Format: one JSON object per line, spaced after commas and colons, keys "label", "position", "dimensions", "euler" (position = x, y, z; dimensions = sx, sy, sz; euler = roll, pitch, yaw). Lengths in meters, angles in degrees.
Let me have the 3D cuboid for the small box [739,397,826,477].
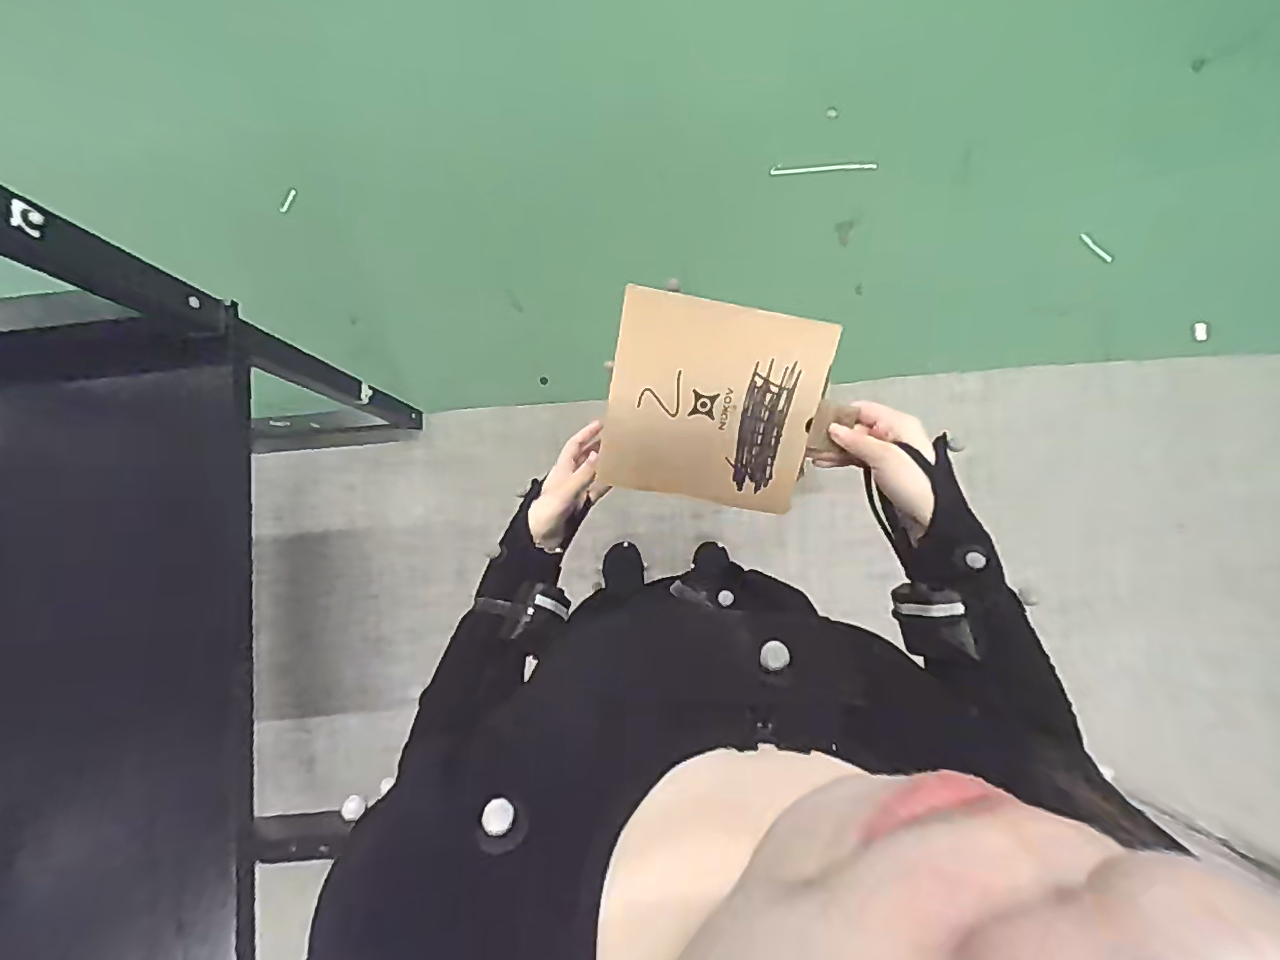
{"label": "small box", "position": [0.369, -0.108, 1.439], "dimensions": [0.179, 0.176, 0.168], "euler": [-11, 85, 0]}
